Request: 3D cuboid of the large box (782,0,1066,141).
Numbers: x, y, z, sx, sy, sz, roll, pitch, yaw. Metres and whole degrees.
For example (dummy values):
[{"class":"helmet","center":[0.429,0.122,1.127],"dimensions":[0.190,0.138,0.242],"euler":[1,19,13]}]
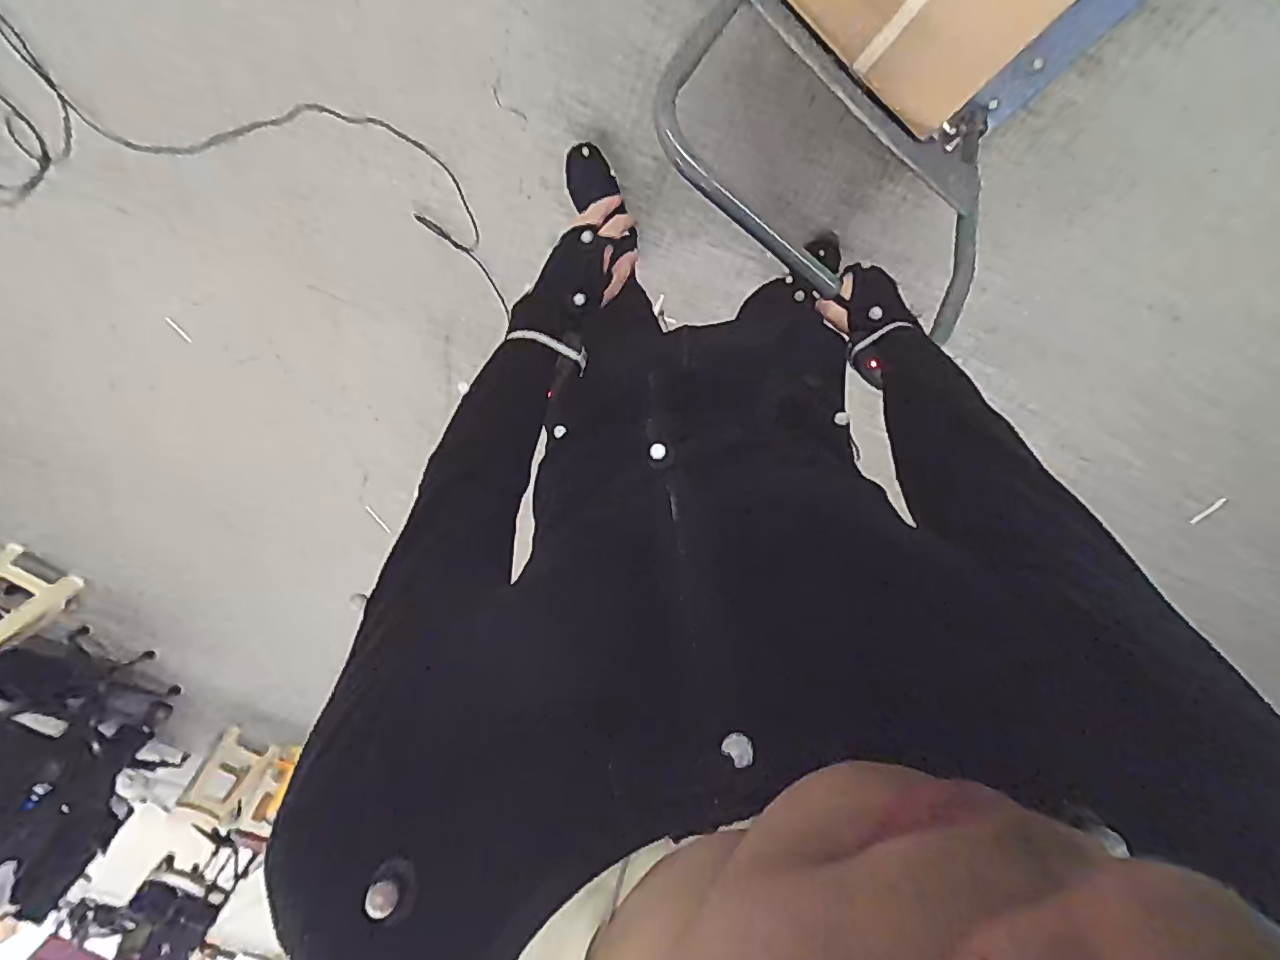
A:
[{"class":"large box","center":[0.469,-0.806,0.762],"dimensions":[0.320,0.320,0.408],"euler":[34,142,-15]}]
